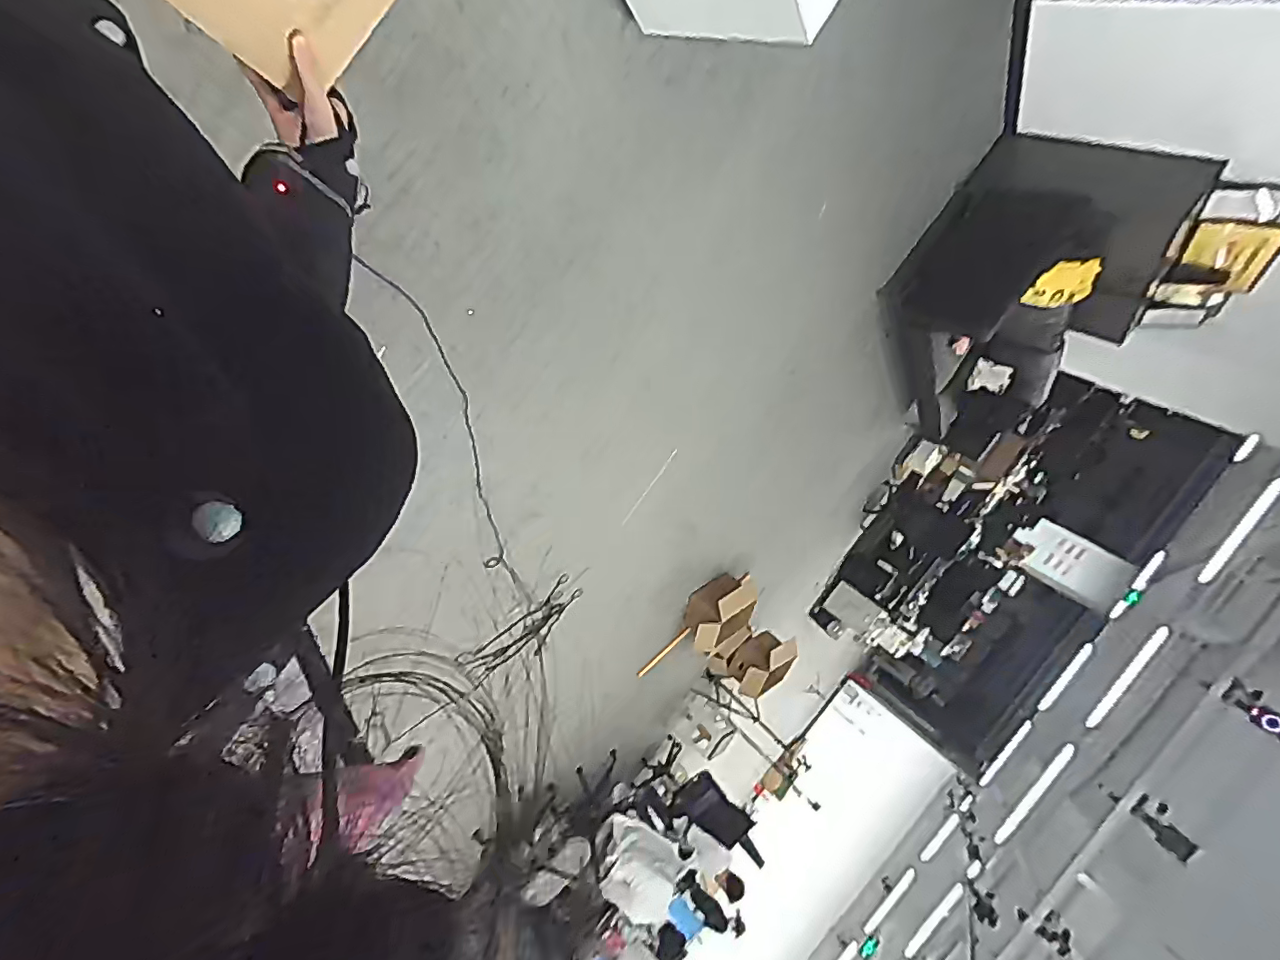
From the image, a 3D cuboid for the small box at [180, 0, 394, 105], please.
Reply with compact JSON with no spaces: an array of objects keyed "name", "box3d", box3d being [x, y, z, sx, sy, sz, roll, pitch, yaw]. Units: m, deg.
[{"name":"small box","box3d":[-0.353,-0.495,0.470,0.168,0.176,0.179,-43,170,10]}]
